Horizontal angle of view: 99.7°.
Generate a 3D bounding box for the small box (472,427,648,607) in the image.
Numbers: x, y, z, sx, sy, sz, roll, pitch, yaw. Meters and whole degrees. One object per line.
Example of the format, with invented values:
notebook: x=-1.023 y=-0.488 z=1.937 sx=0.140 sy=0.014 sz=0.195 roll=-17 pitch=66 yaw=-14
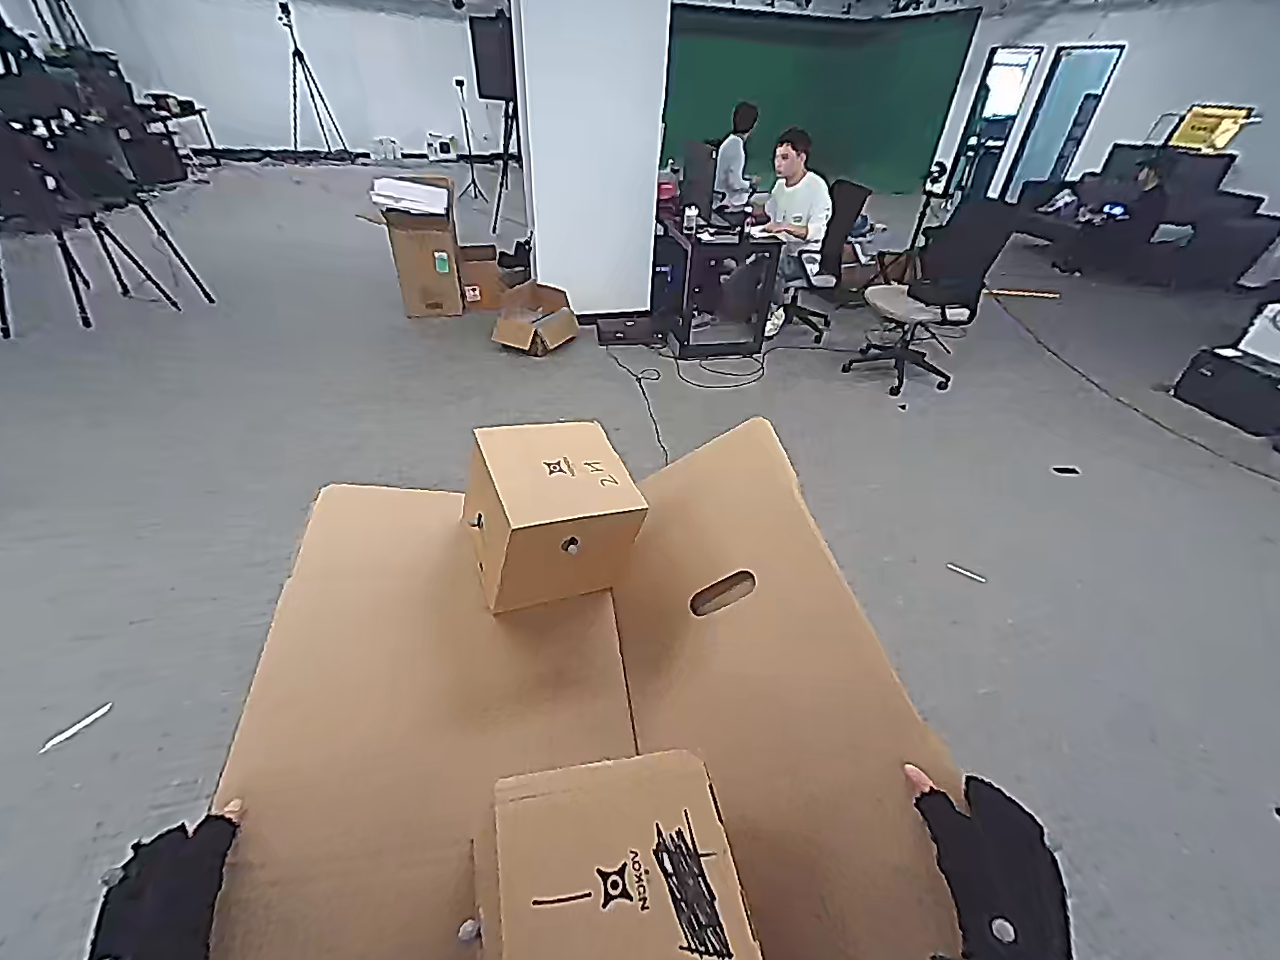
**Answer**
small box: x=-0.118 y=0.048 z=0.719 sx=0.179 sy=0.176 sz=0.168 roll=-6 pitch=49 yaw=-30
